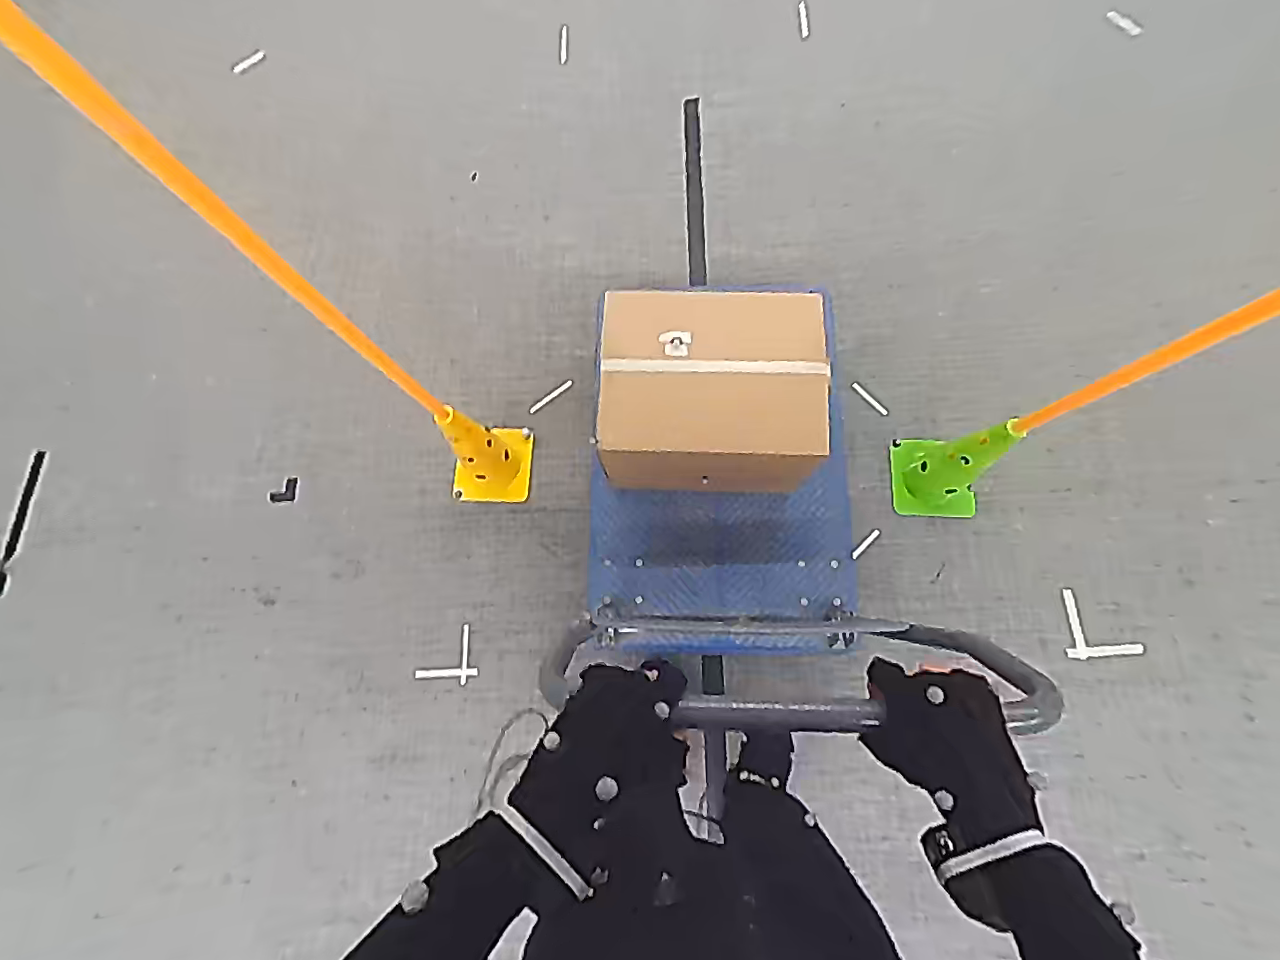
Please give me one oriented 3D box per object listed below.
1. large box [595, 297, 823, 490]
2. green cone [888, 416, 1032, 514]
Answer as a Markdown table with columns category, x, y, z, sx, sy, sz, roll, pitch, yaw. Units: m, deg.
| category | x | y | z | sx | sy | sz | roll | pitch | yaw |
| --- | --- | --- | --- | --- | --- | --- | --- | --- | --- |
| large box | 0.133 | -0.158 | 1.121 | 0.408 | 0.320 | 0.320 | 1 | 76 | 4 |
| green cone | 0.735 | -0.056 | 1.214 | 0.202 | 0.368 | 0.200 | 2 | 75 | 2 |
